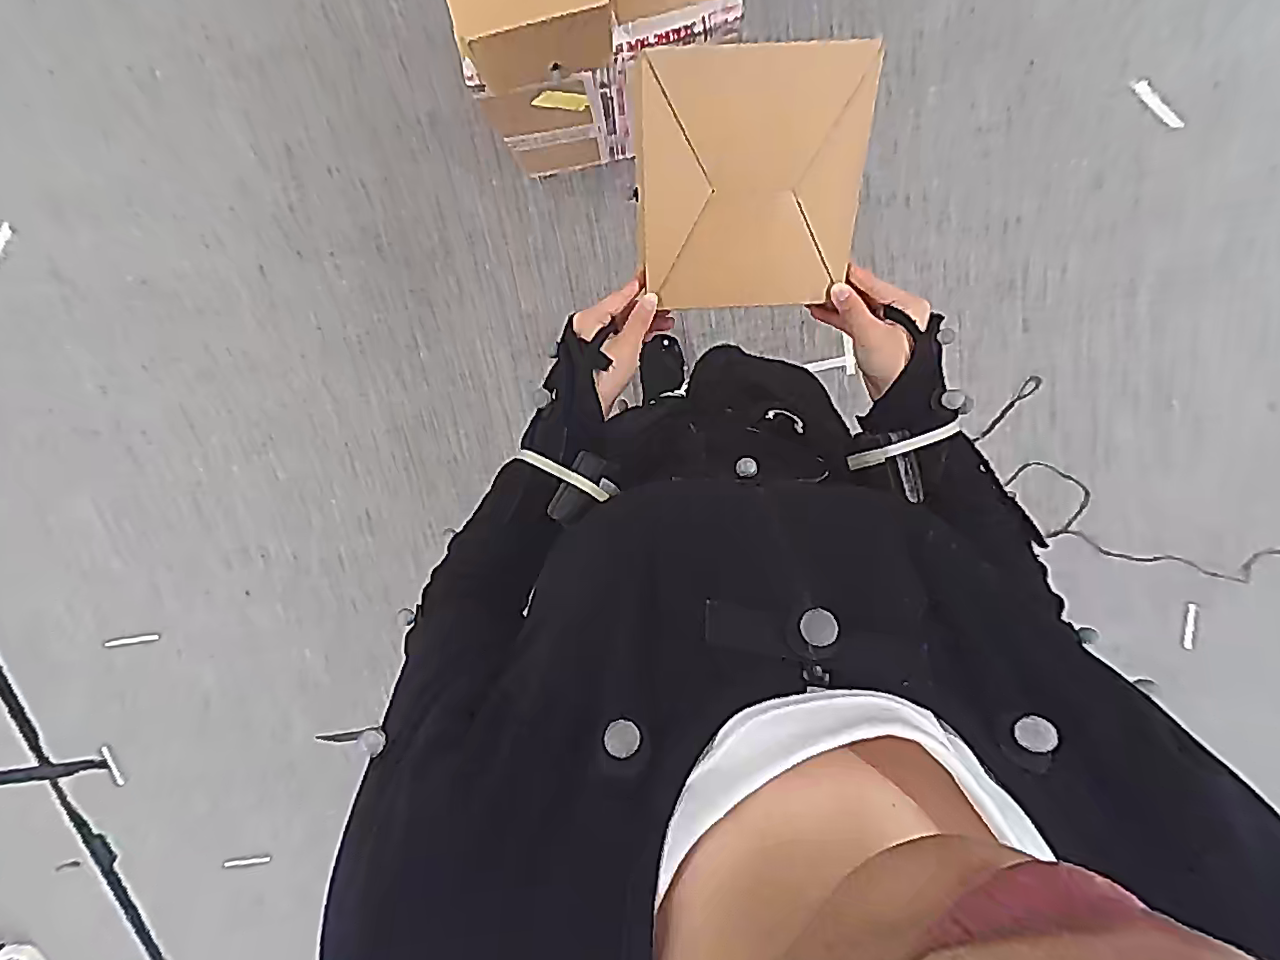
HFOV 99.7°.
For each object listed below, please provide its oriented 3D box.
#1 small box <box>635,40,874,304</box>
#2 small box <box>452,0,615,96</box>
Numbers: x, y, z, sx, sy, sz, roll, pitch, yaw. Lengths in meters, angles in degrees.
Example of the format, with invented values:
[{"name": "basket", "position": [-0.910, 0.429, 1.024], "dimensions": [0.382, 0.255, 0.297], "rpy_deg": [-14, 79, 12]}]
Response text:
[{"name": "small box", "position": [0.082, -0.266, 0.481], "dimensions": [0.168, 0.176, 0.179], "rpy_deg": [-3, 124, -2]}, {"name": "small box", "position": [-0.134, -0.599, 0.643], "dimensions": [0.179, 0.176, 0.168], "rpy_deg": [-12, 108, 3]}]
